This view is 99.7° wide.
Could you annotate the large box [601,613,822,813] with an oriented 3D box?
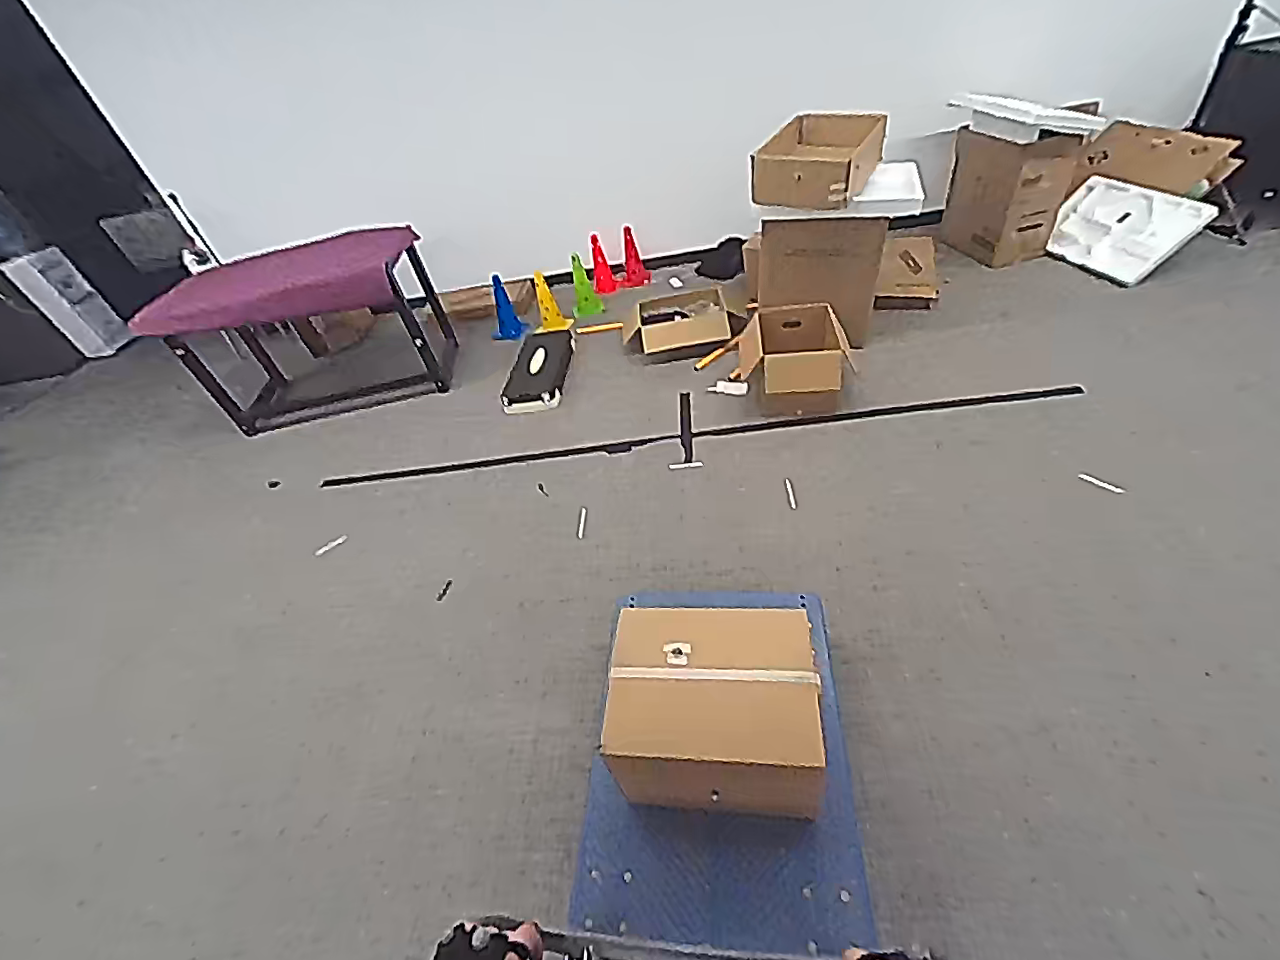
[{"bbox_3d":[0.163,0.510,1.182,0.408,0.320,0.320,-4,43,12],"label":"large box"}]
